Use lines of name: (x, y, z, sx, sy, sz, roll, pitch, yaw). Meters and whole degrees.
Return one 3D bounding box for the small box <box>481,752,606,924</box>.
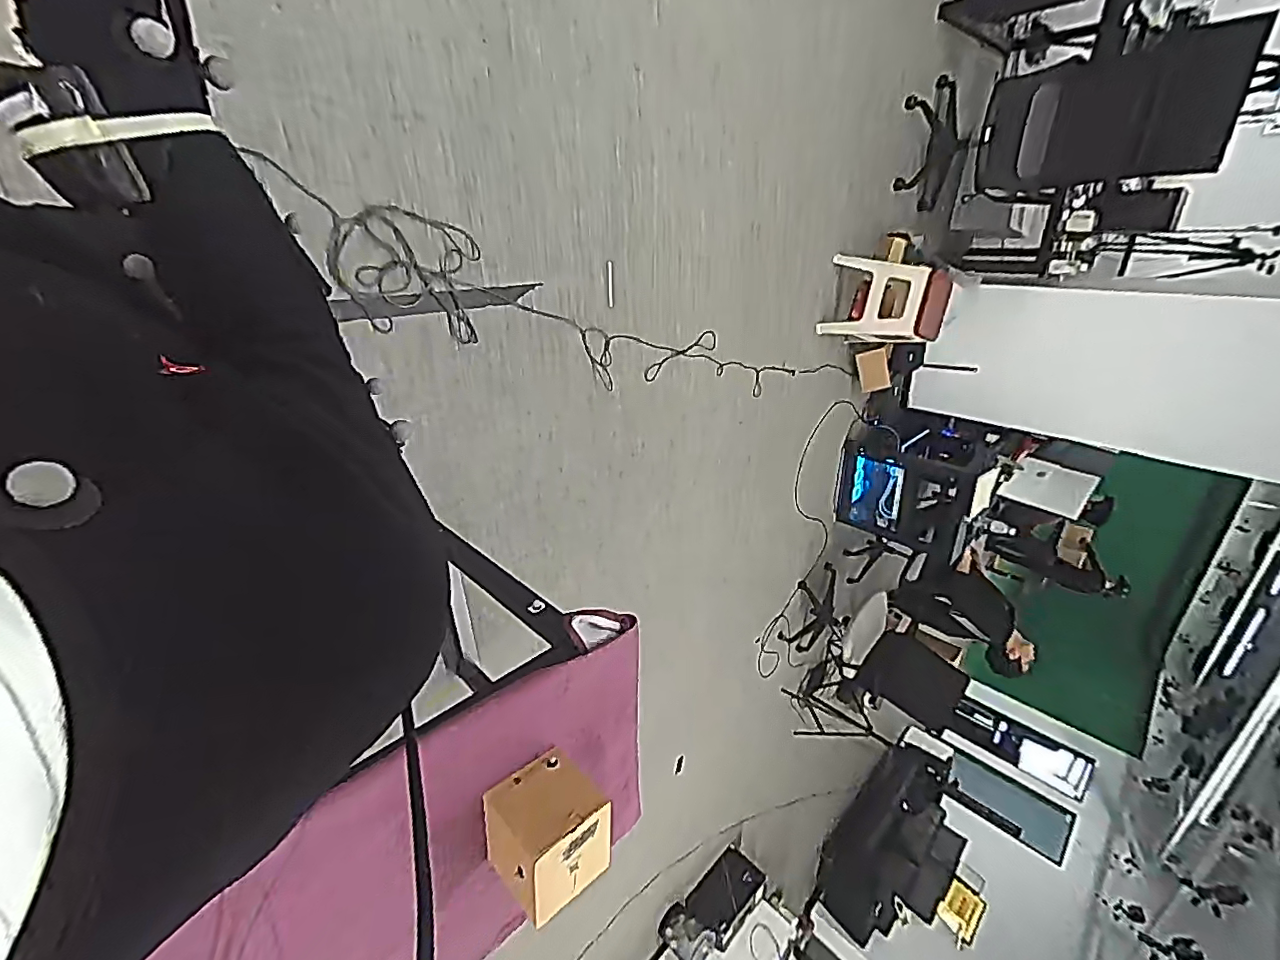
small box: (-0.180, 0.642, 1.000, 0.168, 0.176, 0.179, -16, 118, -41)
